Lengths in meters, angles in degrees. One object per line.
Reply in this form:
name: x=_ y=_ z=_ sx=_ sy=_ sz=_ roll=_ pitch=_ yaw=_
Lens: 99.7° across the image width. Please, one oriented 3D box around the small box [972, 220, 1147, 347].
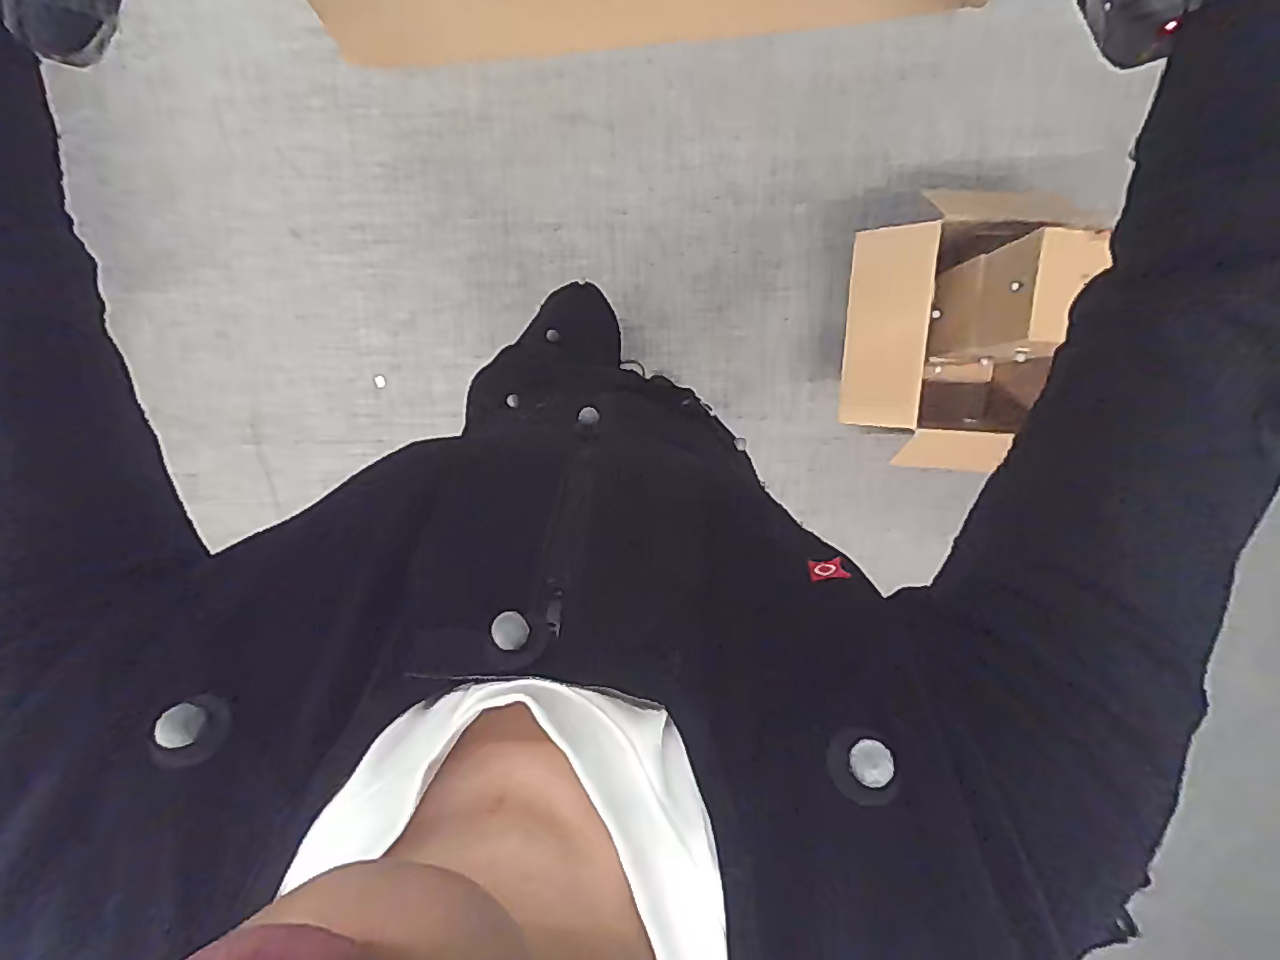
small box: x=0.709 y=-0.330 z=0.936 sx=0.168 sy=0.176 sz=0.179 roll=3 pitch=99 yaw=3
